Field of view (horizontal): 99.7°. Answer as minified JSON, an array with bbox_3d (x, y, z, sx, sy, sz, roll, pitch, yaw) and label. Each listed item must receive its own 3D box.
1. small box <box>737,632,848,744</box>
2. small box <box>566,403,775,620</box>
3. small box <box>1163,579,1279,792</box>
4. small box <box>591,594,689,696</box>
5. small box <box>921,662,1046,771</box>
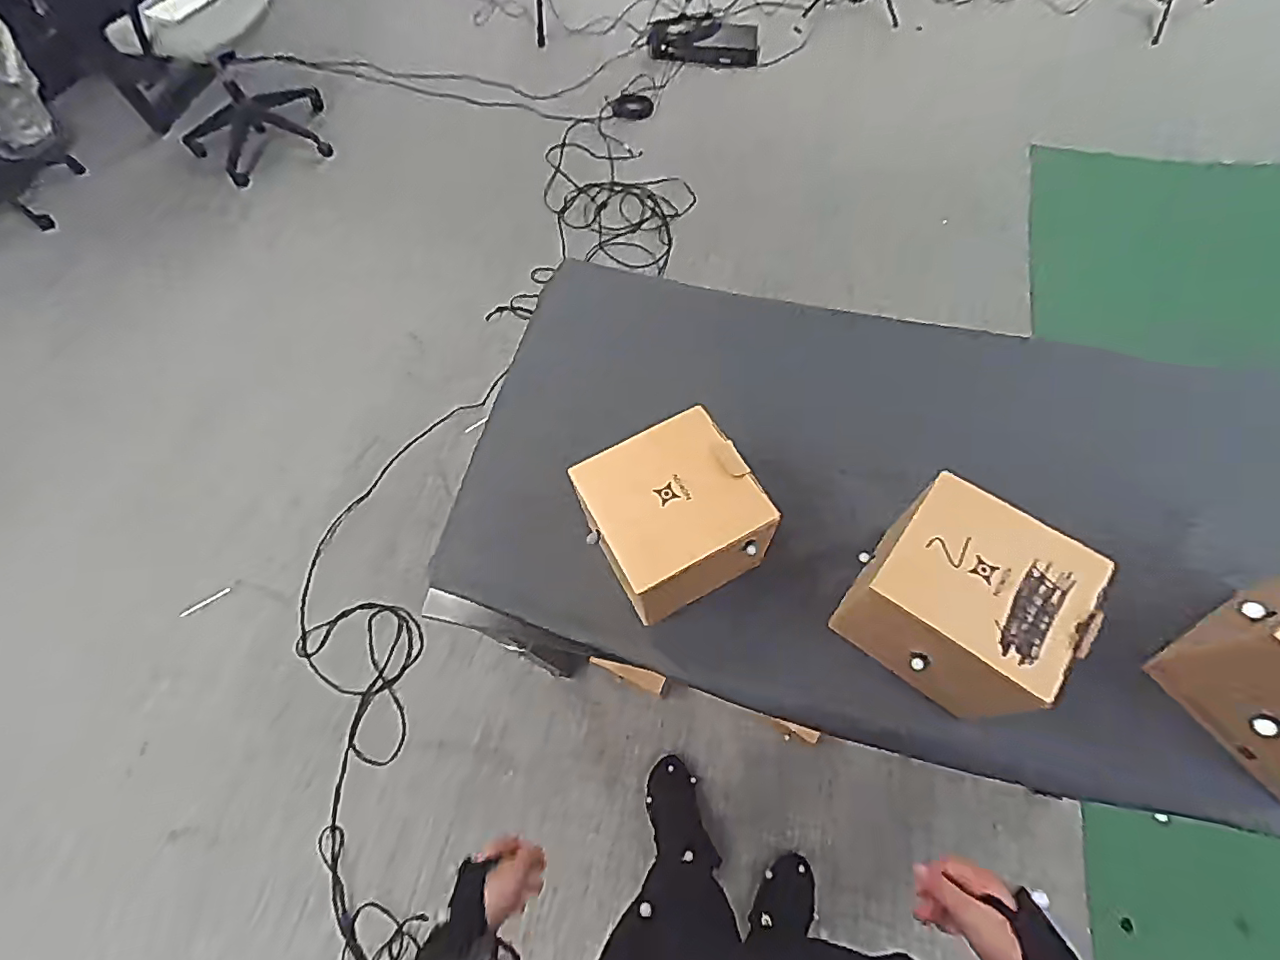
[{"bbox_3d":[0.339,0.475,1.229,0.179,0.176,0.168,29,68,18],"label":"small box"},{"bbox_3d":[0.036,0.046,0.650,0.179,0.176,0.168,-27,65,-10],"label":"small box"},{"bbox_3d":[0.683,0.193,0.526,0.179,0.176,0.168,-29,62,-11],"label":"small box"},{"bbox_3d":[0.006,0.399,1.290,0.179,0.176,0.168,22,67,15],"label":"small box"},{"bbox_3d":[0.741,0.517,1.180,0.179,0.176,0.168,16,66,10],"label":"small box"}]
